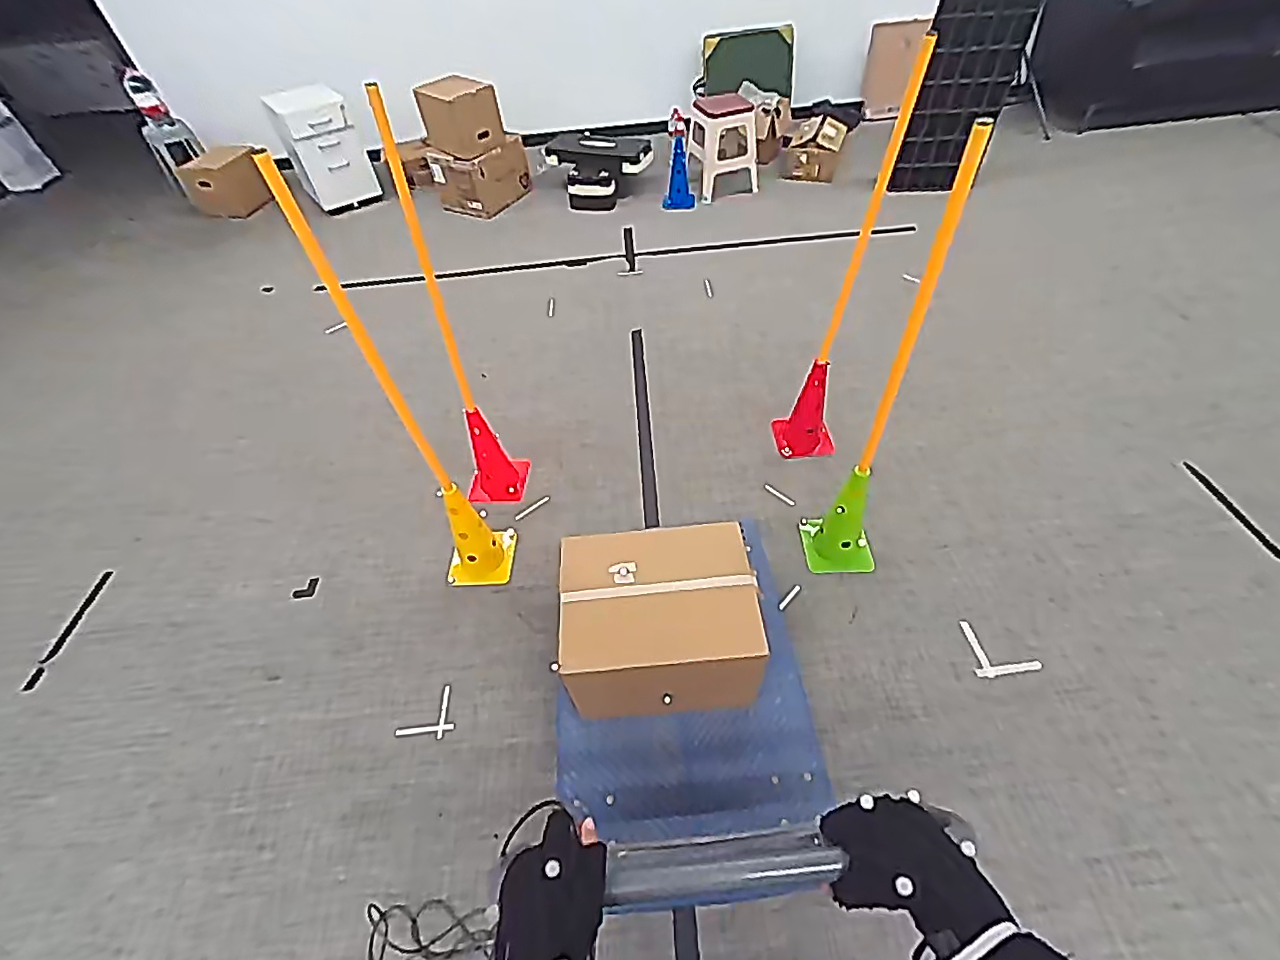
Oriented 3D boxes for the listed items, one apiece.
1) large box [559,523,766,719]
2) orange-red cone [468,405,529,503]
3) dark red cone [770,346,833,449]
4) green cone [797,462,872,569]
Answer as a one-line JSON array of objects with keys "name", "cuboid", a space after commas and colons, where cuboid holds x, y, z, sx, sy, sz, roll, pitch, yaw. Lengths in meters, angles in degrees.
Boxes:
[{"name": "large box", "cuboid": [0.044, 0.329, 1.238, 0.408, 0.320, 0.320, -6, 50, 1]}, {"name": "orange-red cone", "cuboid": [-0.525, -0.112, 1.854, 0.198, 0.360, 0.199, 1, 48, 5]}, {"name": "dark red cone", "cuboid": [0.594, -0.294, 1.889, 0.201, 0.394, 0.202, -4, 50, -1]}, {"name": "green cone", "cuboid": [0.607, 0.086, 1.587, 0.202, 0.368, 0.200, -2, 49, 2]}]
